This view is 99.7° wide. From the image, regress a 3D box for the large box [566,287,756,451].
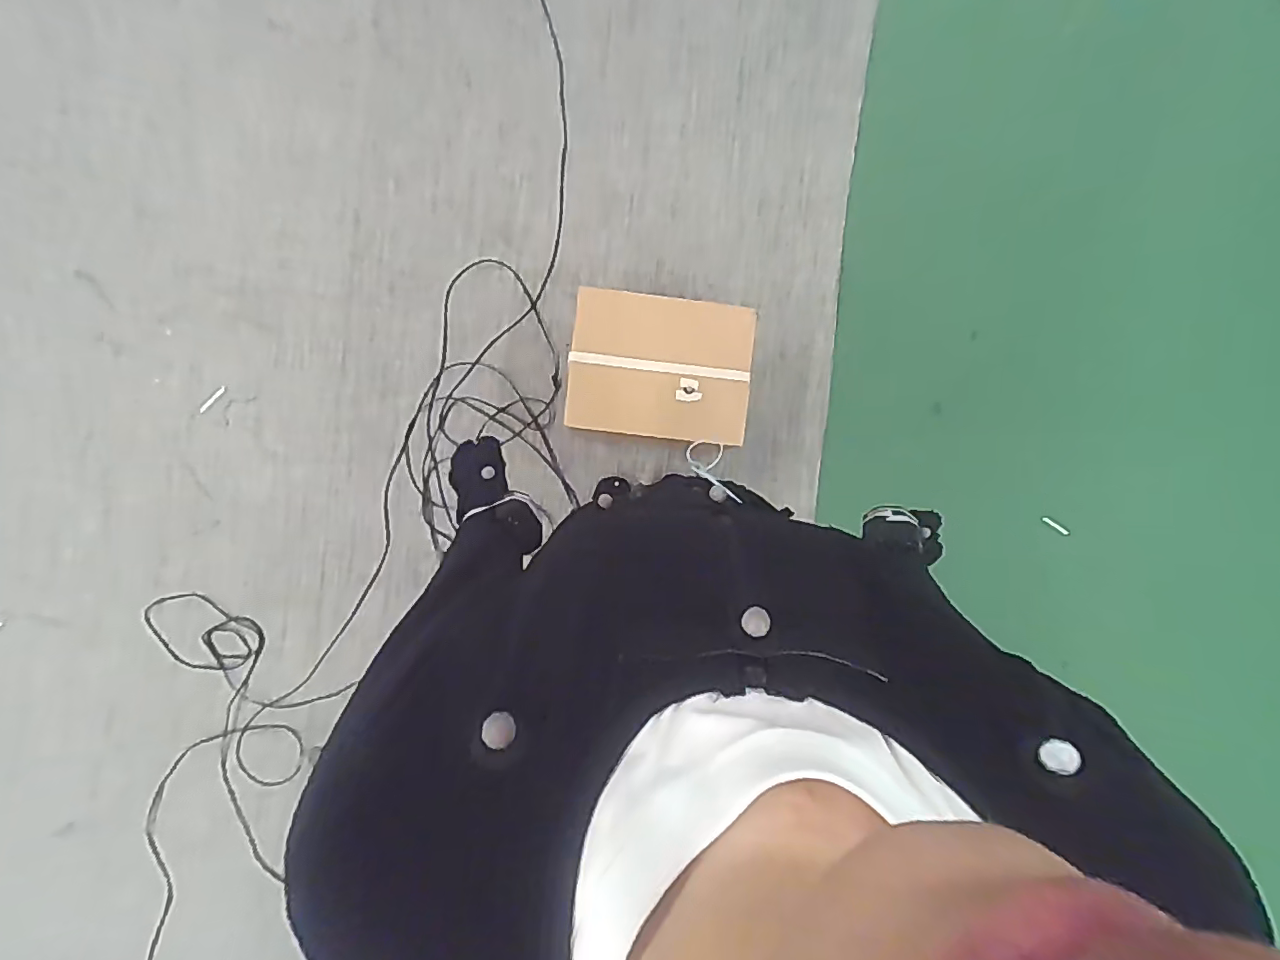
[{"bbox_3d":[0.038,-0.251,1.341,0.408,0.320,0.320,7,90,-3],"label":"large box"}]
